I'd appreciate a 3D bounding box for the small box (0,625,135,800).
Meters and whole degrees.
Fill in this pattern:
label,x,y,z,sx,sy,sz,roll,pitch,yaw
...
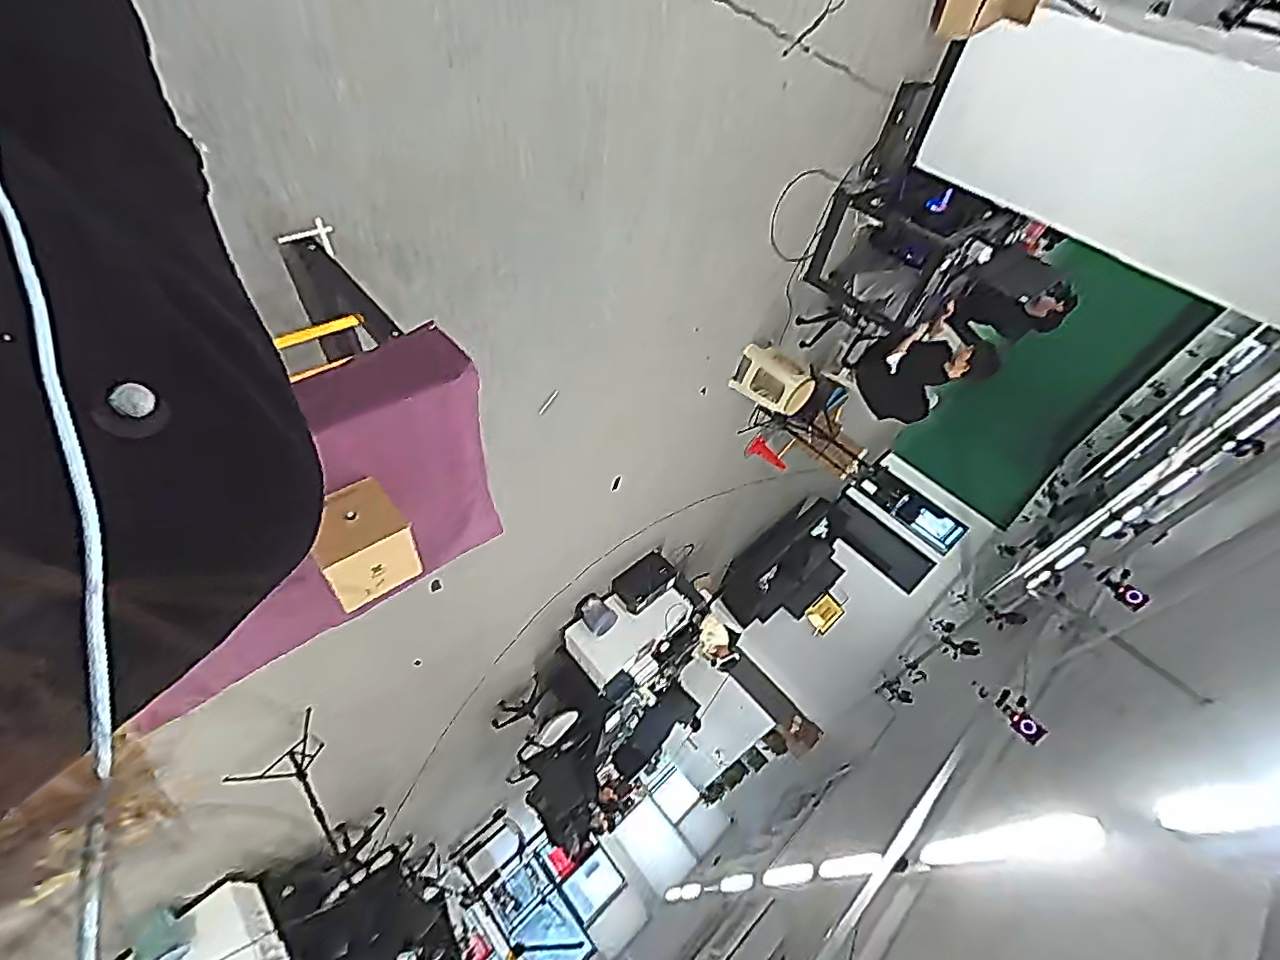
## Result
label,x,y,z,sx,sy,sz,roll,pitch,yaw
small box,-0.969,0.359,0.856,0.168,0.176,0.179,-32,152,-32

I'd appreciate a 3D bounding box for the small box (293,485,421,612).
label,x,y,z,sx,sy,sz,roll,pitch,yaw
small box,-0.587,0.133,1.128,0.168,0.176,0.179,-31,151,-31
